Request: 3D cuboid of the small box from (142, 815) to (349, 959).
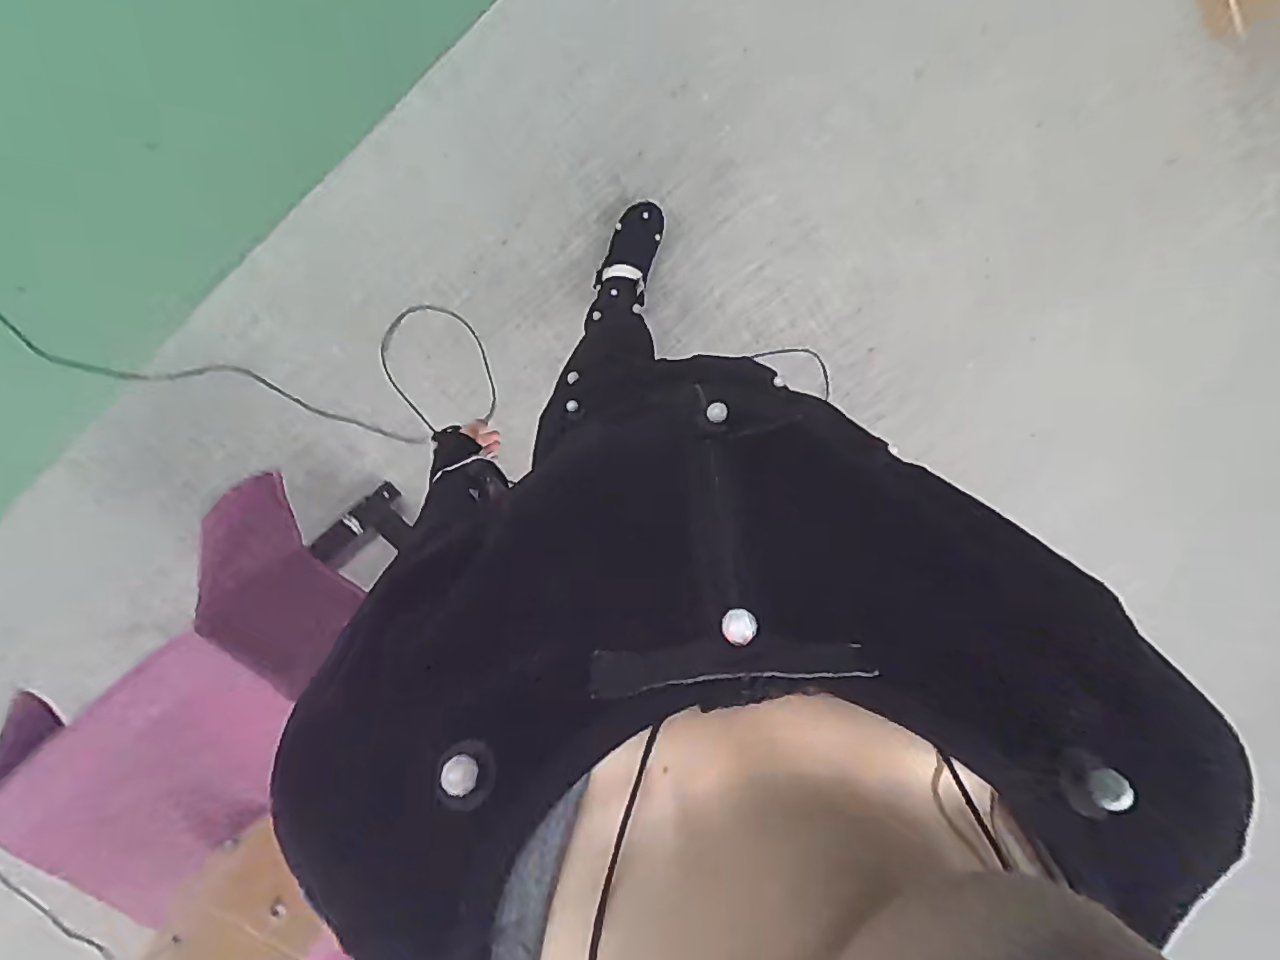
[{"bbox_3d":[-0.622,0.697,0.881,0.168,0.176,0.179,-38,106,9],"label":"small box"}]
